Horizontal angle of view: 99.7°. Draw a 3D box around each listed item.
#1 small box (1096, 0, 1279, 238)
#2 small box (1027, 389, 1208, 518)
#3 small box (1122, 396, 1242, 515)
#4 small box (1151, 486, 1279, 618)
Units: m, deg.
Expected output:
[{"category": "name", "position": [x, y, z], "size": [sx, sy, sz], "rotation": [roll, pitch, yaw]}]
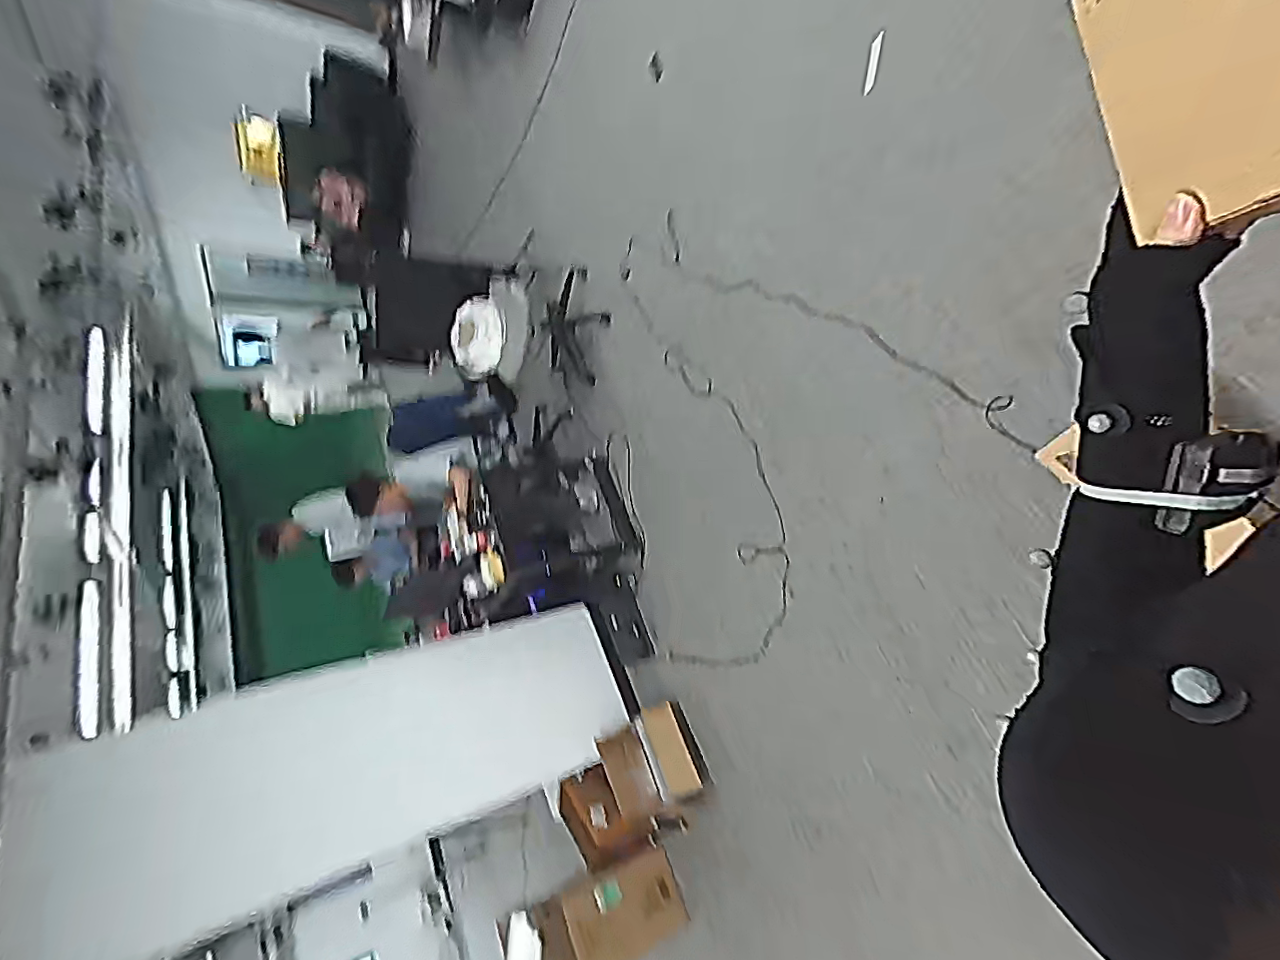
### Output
[{"category": "small box", "position": [0.357, -0.240, 0.234], "size": [0.168, 0.179, 0.176], "rotation": [-126, 19, -86]}, {"category": "small box", "position": [0.890, -0.052, 1.011], "size": [0.168, 0.176, 0.179], "rotation": [60, 139, 28]}, {"category": "small box", "position": [1.036, -0.052, 1.089], "size": [0.168, 0.176, 0.179], "rotation": [60, 139, 29]}, {"category": "small box", "position": [1.123, 0.128, 1.001], "size": [0.168, 0.176, 0.179], "rotation": [63, 142, 27]}]
